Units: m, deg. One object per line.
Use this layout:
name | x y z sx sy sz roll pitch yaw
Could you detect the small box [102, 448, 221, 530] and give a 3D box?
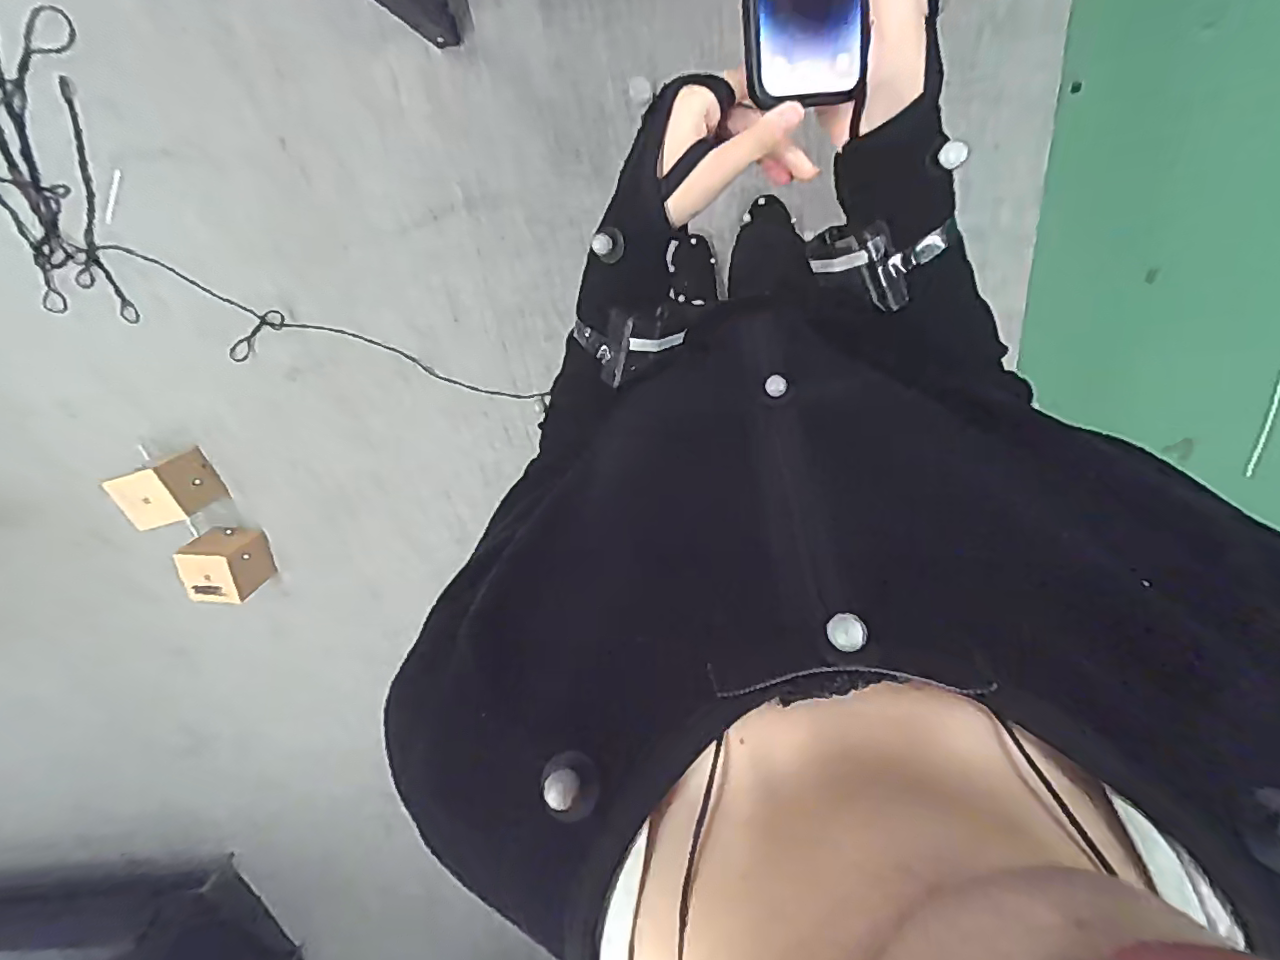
small box | -1.390 0.022 1.593 0.179 0.176 0.168 -13 114 9
